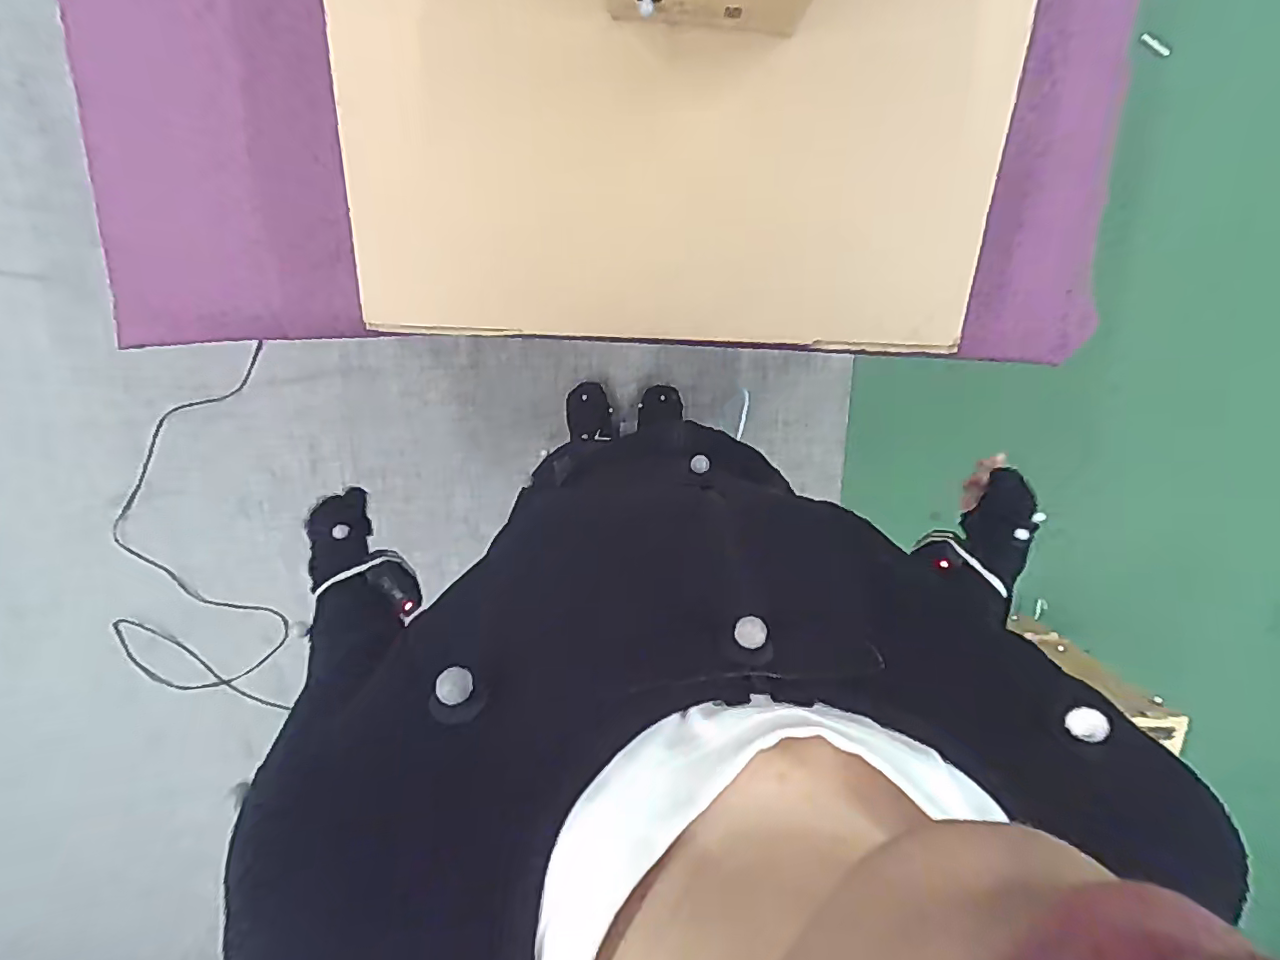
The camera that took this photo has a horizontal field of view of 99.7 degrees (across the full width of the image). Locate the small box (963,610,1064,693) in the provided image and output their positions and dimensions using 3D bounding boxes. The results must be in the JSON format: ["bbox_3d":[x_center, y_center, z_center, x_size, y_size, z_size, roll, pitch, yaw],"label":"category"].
[{"bbox_3d":[1.092,0.504,1.596,0.168,0.176,0.179,1,103,-4],"label":"small box"}]

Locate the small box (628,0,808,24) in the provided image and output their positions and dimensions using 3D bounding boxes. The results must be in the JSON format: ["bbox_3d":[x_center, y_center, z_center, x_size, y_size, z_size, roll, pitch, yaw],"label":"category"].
[{"bbox_3d":[0.063,-0.454,0.366,0.168,0.176,0.179,-1,103,-4],"label":"small box"}]

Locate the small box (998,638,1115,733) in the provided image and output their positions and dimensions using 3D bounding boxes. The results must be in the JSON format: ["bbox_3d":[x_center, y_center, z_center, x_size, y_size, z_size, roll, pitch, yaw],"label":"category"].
[{"bbox_3d":[1.095,0.542,1.437,0.168,0.176,0.179,2,103,-4],"label":"small box"}]
